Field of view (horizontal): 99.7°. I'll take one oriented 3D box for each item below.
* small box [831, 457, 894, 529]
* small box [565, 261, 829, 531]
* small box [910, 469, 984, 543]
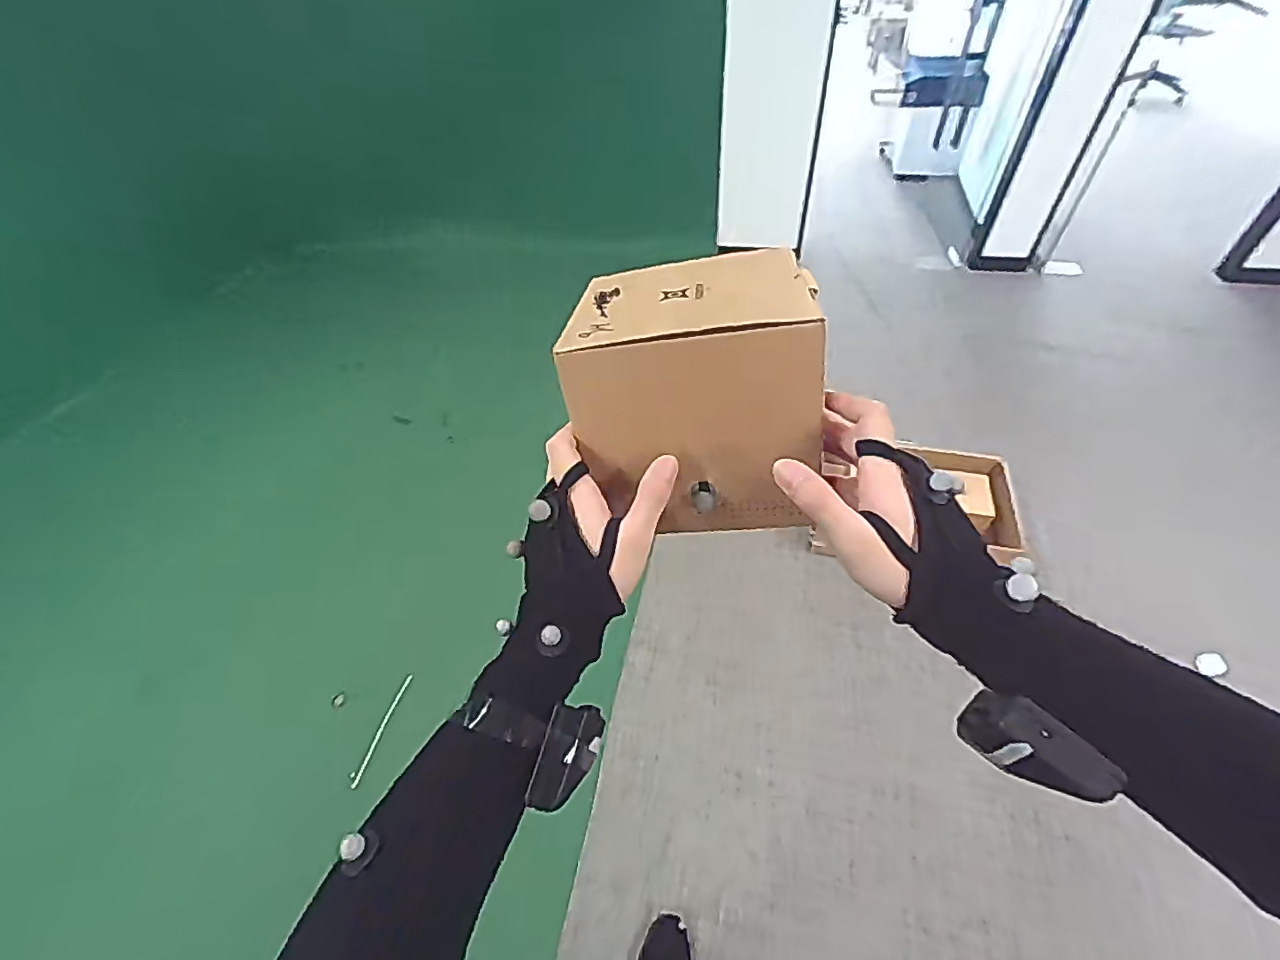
[{"bbox_3d":[0.770,0.049,1.879,0.168,0.176,0.179,10,51,11],"label":"small box"},{"bbox_3d":[0.052,-0.070,0.463,0.179,0.176,0.168,-3,36,9],"label":"small box"},{"bbox_3d":[1.030,0.091,1.830,0.168,0.176,0.179,8,50,11],"label":"small box"}]
